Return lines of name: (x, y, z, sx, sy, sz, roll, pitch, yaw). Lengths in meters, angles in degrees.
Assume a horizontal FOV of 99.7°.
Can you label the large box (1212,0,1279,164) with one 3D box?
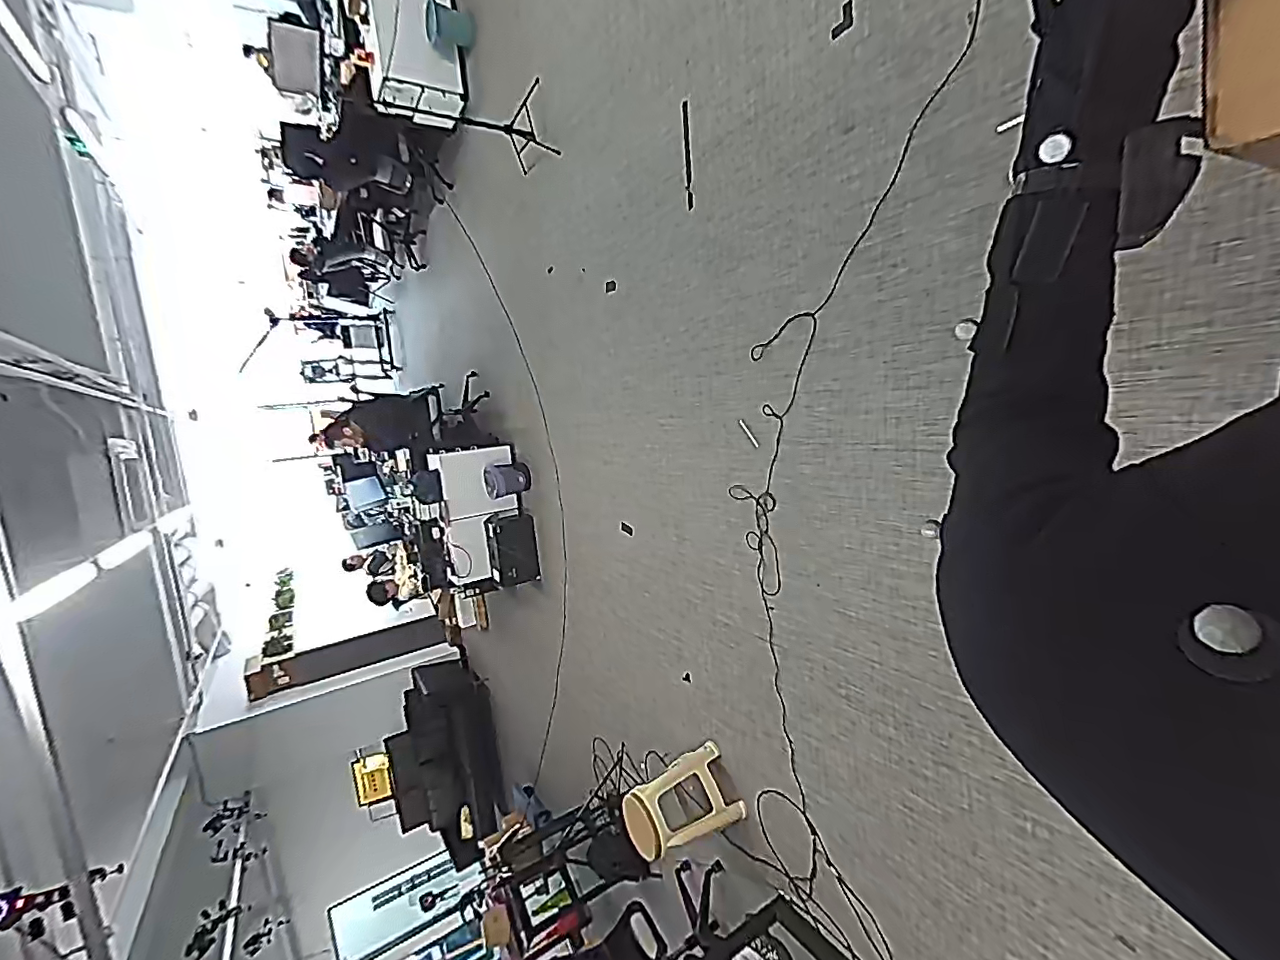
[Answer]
large box: (0.536, -0.375, 0.211, 0.408, 0.320, 0.320, 5, 110, 54)
